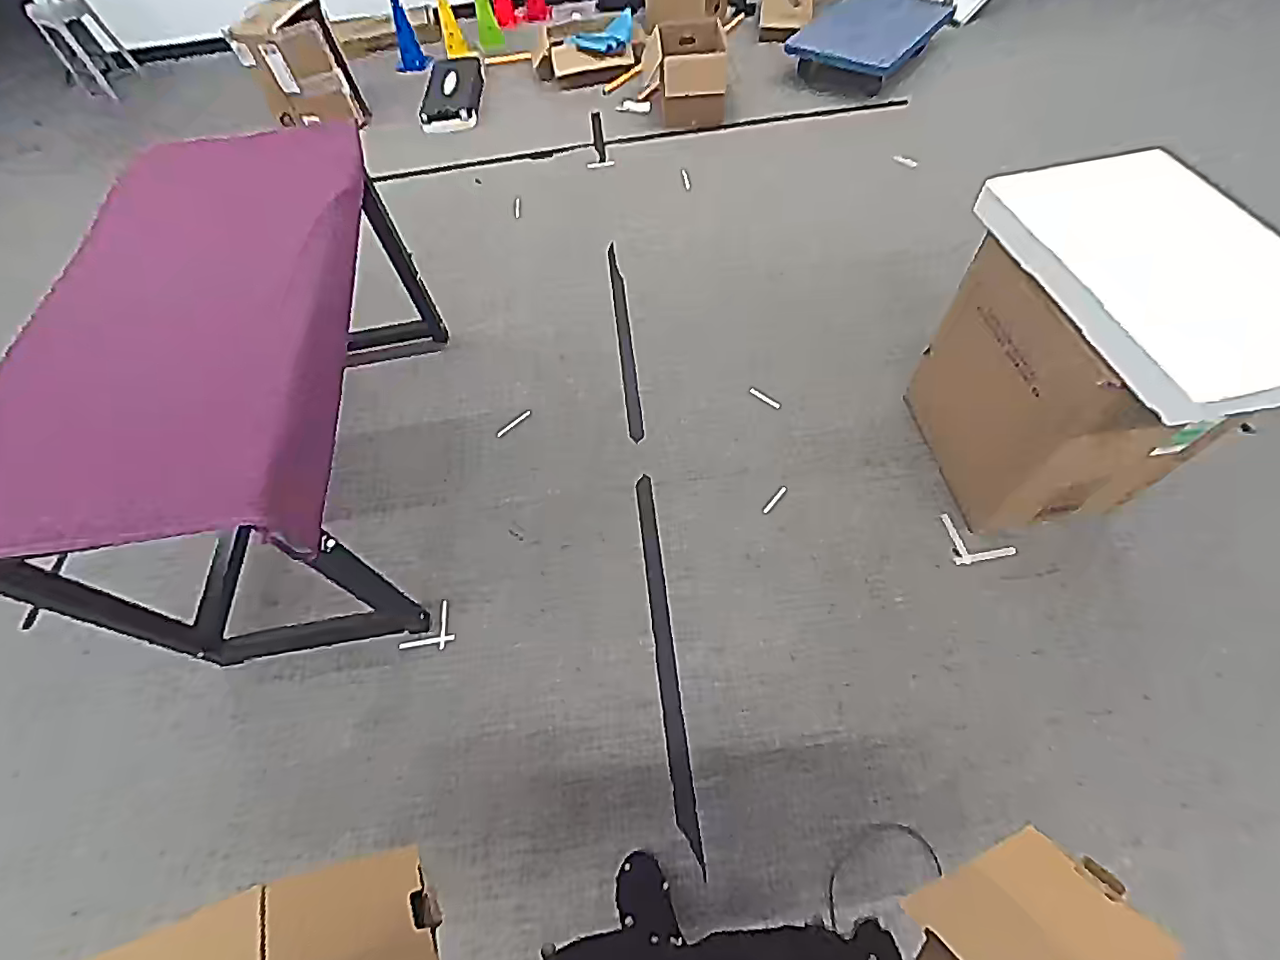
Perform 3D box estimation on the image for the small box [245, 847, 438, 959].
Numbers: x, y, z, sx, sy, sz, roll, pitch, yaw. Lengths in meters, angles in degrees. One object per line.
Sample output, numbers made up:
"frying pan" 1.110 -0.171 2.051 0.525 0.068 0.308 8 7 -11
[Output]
"small box" -0.358 0.586 0.634 0.179 0.176 0.168 11 22 -38
